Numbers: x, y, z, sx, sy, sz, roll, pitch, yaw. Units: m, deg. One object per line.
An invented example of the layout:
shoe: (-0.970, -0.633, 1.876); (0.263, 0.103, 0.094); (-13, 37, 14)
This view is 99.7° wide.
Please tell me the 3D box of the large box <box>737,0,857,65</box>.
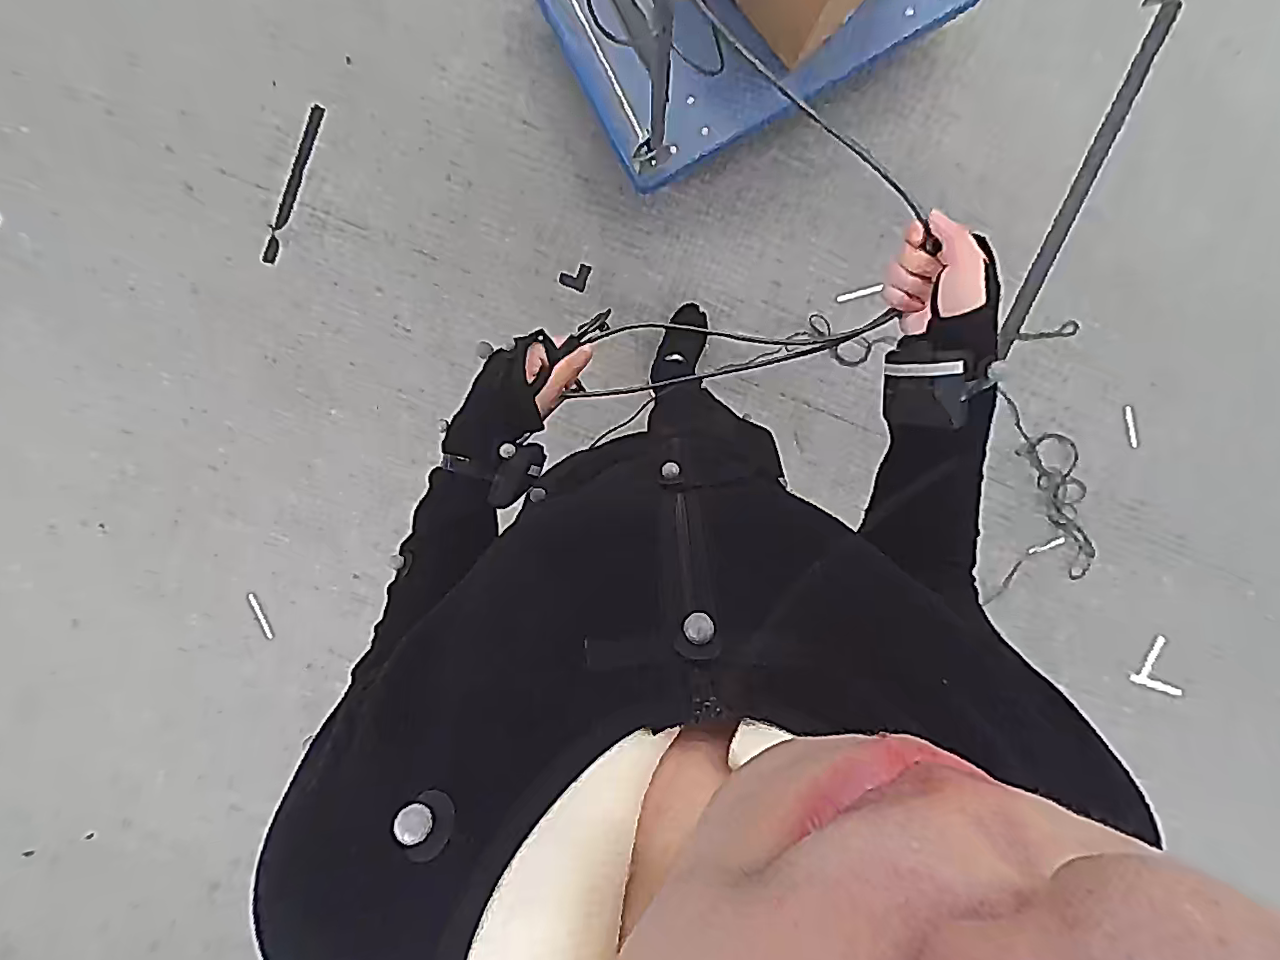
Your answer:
large box: (0.301, -1.107, 0.980); (0.320, 0.320, 0.408); (-43, 99, 6)
